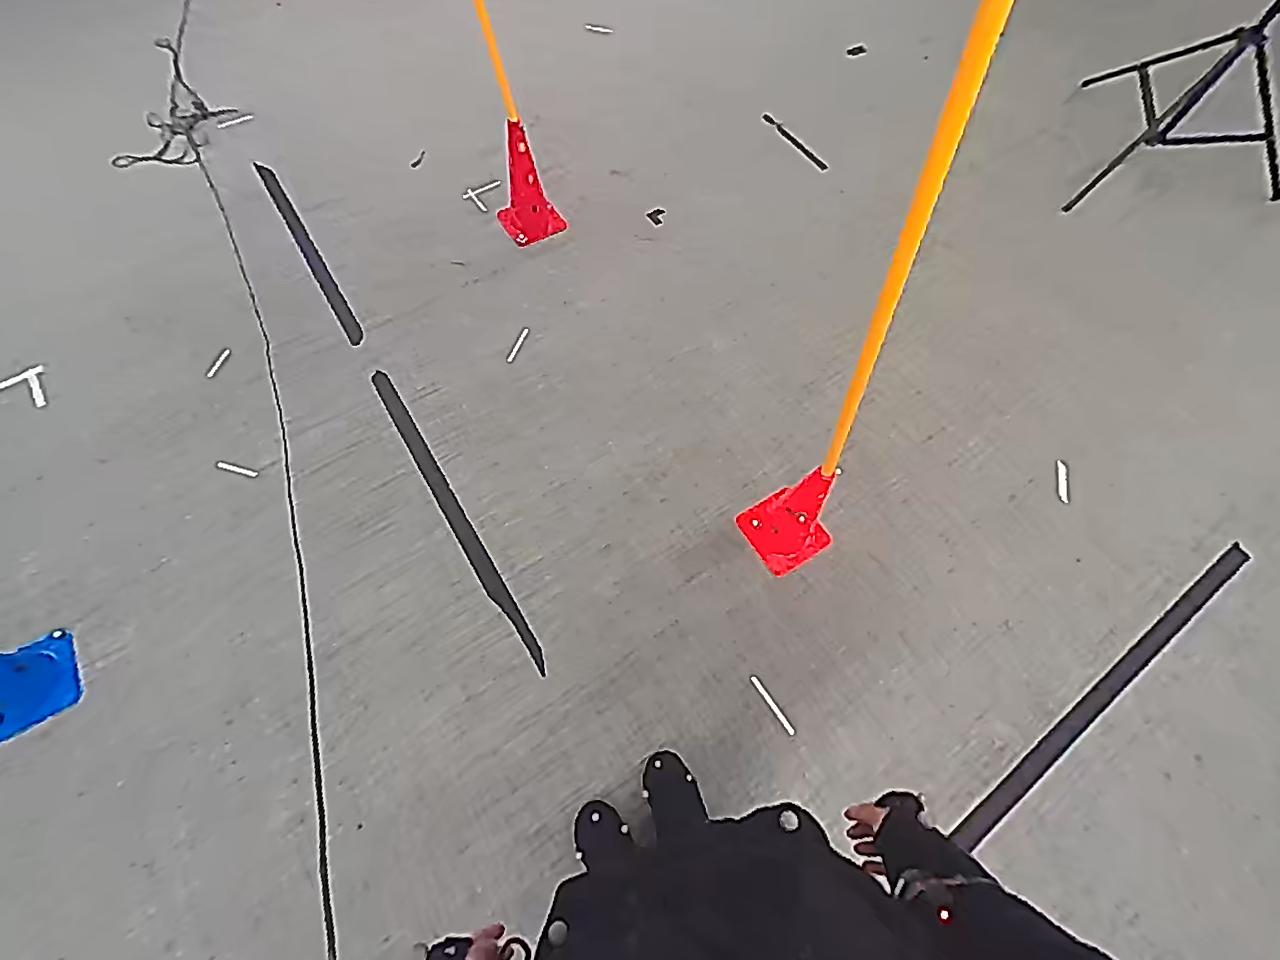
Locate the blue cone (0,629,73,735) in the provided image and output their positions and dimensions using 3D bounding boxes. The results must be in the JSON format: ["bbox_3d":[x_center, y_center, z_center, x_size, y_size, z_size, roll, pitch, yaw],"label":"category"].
[{"bbox_3d":[-1.416,0.397,1.102,0.193,0.380,0.192,-28,68,-14],"label":"blue cone"}]

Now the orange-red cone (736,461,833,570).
[{"bbox_3d":[0.387,0.050,1.295,0.198,0.360,0.199,-28,69,-14],"label":"orange-red cone"}]
